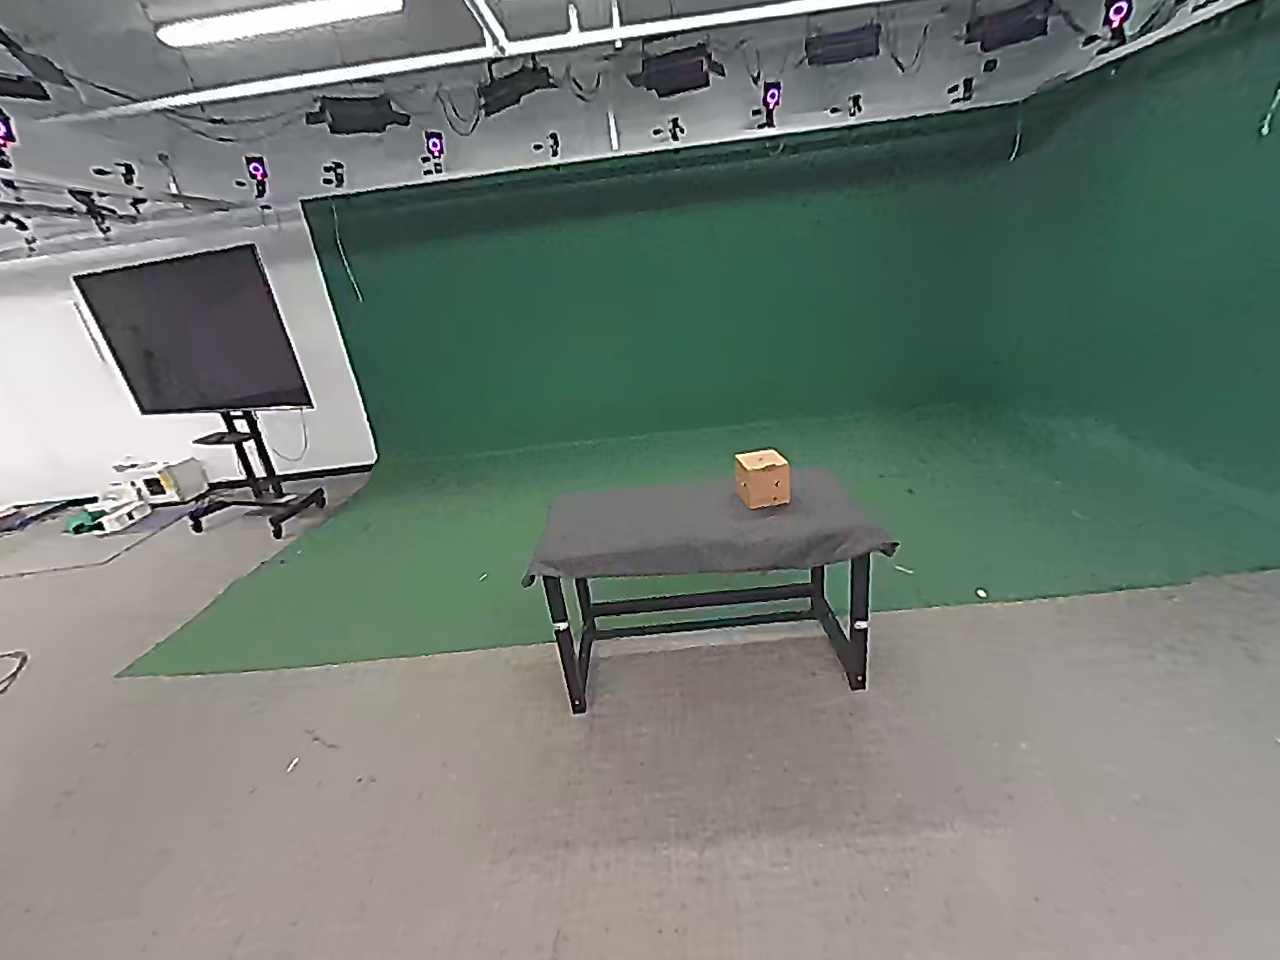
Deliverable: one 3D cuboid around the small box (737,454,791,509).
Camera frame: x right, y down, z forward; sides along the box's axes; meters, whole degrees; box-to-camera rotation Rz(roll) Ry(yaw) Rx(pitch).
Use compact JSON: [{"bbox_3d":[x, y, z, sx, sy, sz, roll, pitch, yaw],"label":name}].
[{"bbox_3d":[0.492,0.012,2.150,0.168,0.176,0.179,-7,20,-6],"label":"small box"}]
